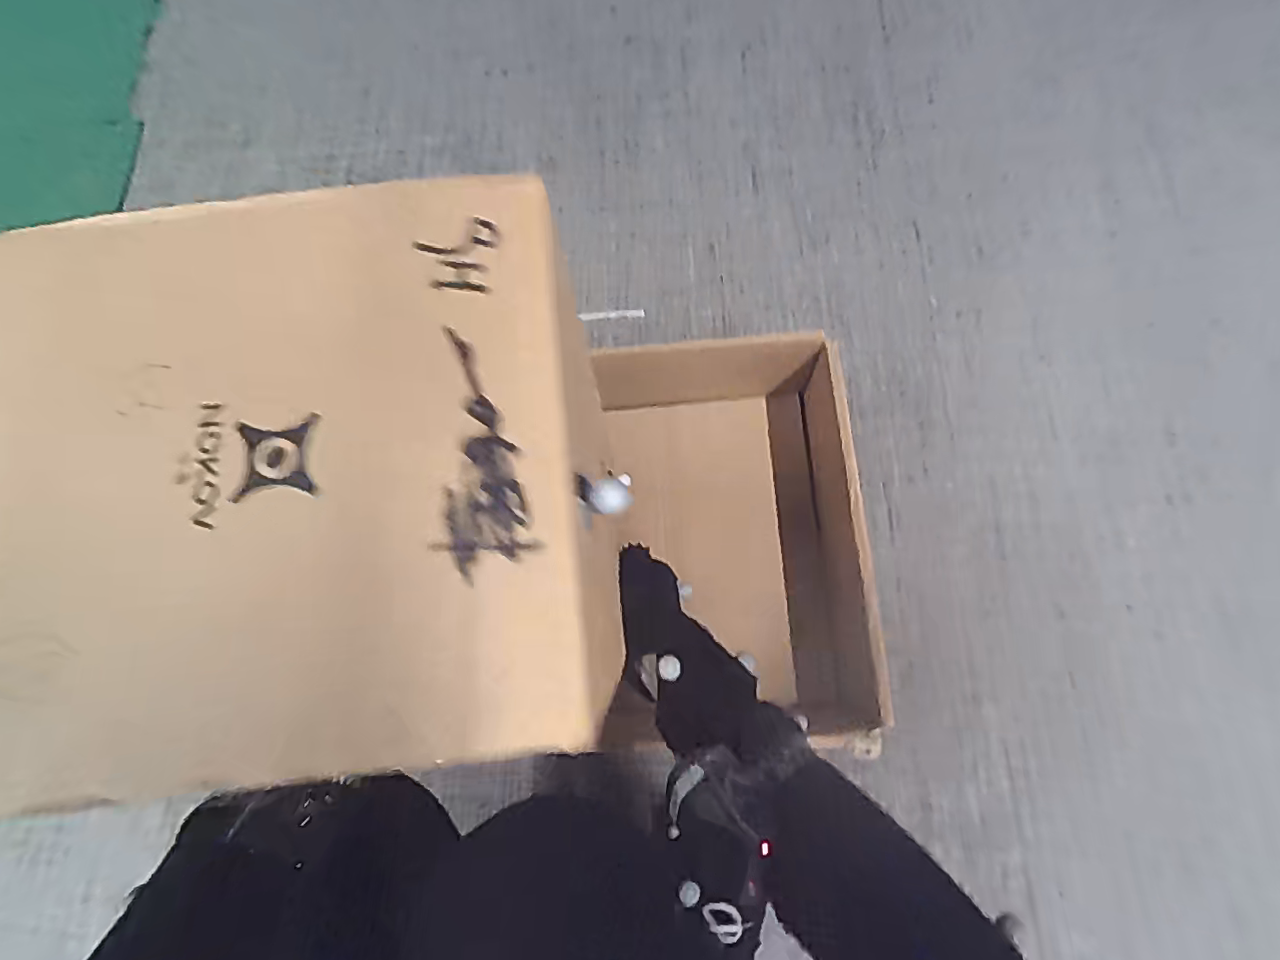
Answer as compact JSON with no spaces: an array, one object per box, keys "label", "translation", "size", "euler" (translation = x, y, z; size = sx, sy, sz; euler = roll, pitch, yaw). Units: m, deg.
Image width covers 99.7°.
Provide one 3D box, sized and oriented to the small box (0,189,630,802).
[{"label":"small box","translation":[-0.102,0.015,0.233],"size":[0.179,0.176,0.168],"euler":[-8,76,-2]}]
